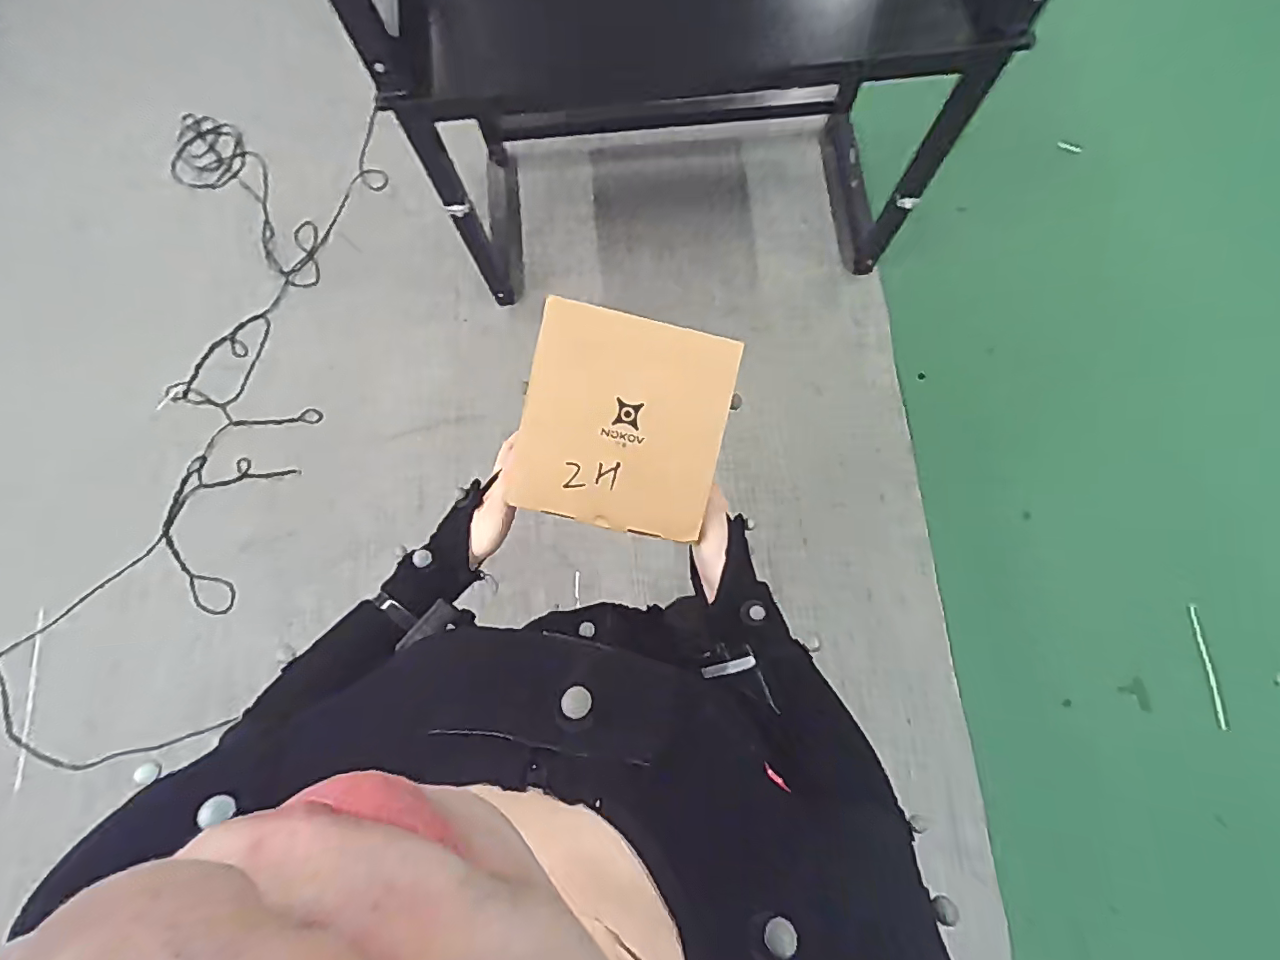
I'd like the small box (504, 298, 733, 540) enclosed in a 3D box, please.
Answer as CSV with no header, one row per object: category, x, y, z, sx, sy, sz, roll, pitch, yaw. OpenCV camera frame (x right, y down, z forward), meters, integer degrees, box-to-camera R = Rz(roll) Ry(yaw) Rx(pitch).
small box,-0.023,-0.057,0.536,0.168,0.176,0.179,13,95,-4
